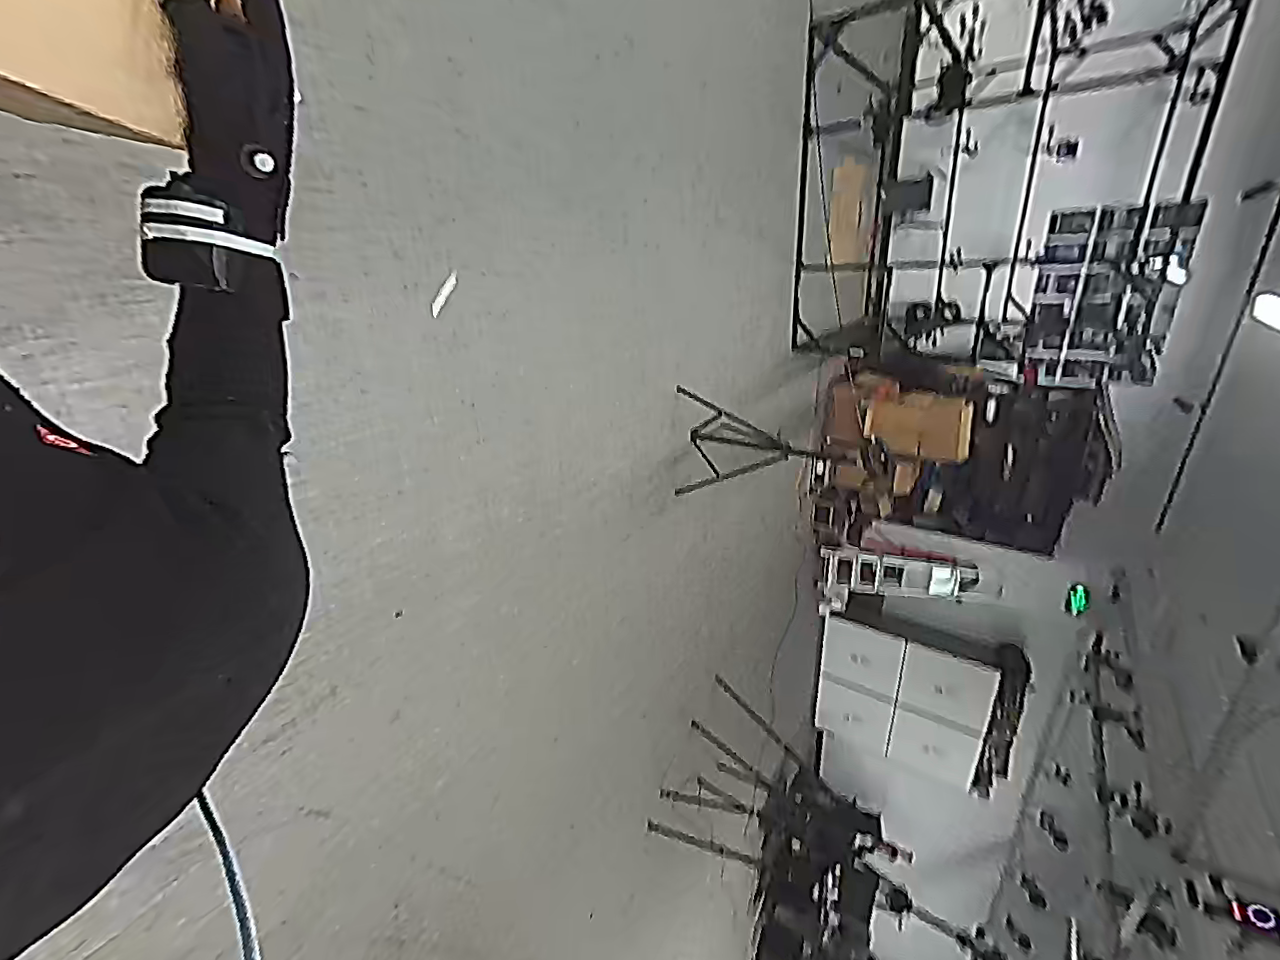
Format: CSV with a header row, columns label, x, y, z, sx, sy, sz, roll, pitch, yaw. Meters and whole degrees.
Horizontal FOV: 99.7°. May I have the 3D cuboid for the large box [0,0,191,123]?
label,x,y,z,sx,sy,sz,roll,pitch,yaw
large box,-0.514,-0.436,0.249,0.408,0.320,0.320,-9,119,-63
